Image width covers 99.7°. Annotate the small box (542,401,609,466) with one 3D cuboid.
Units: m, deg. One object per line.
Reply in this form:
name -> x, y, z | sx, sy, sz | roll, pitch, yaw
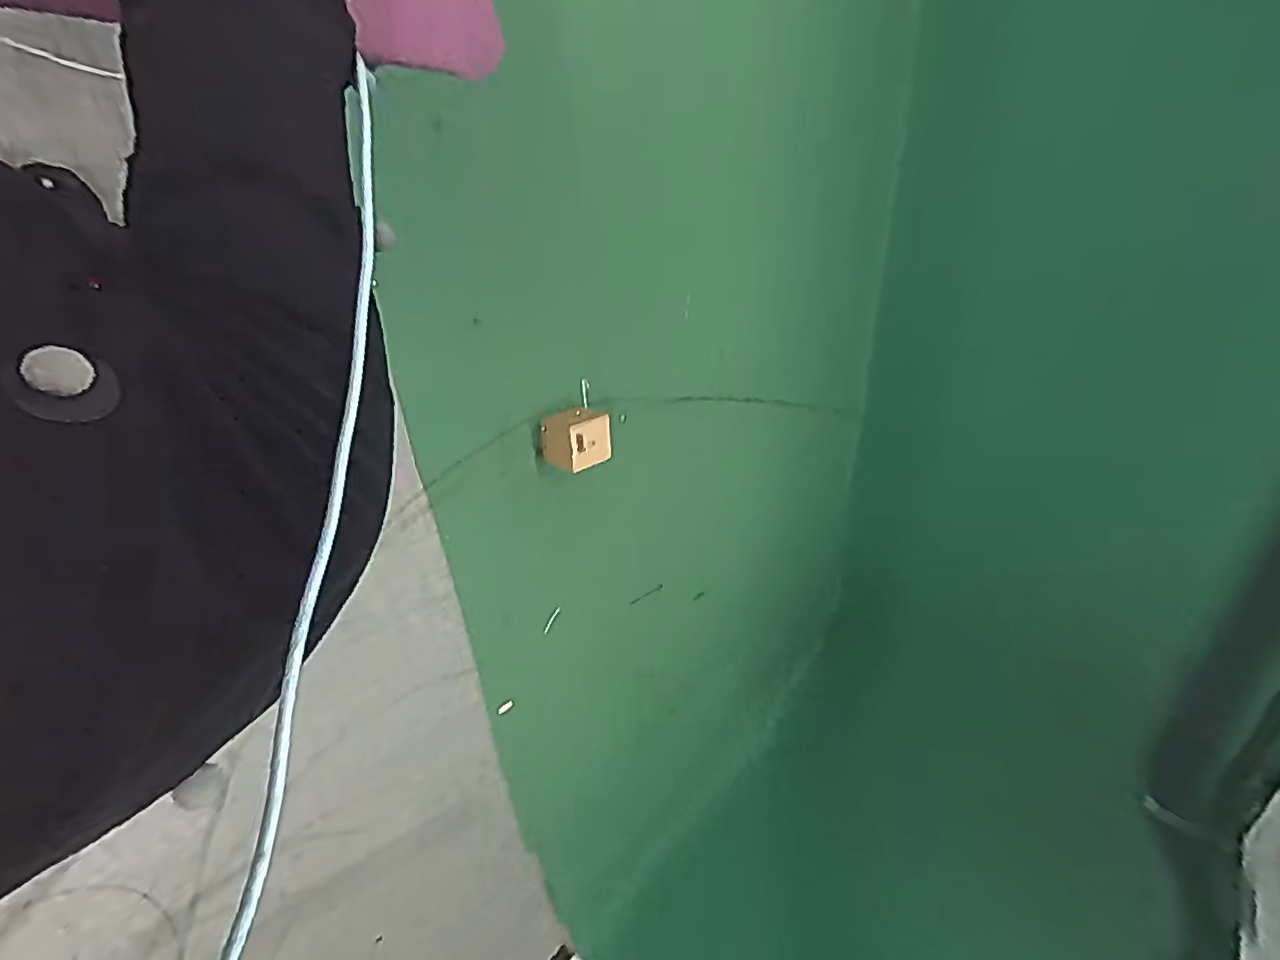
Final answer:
small box -> -0.229, -0.168, 1.888 | 0.179, 0.176, 0.168 | -25, 124, -40
